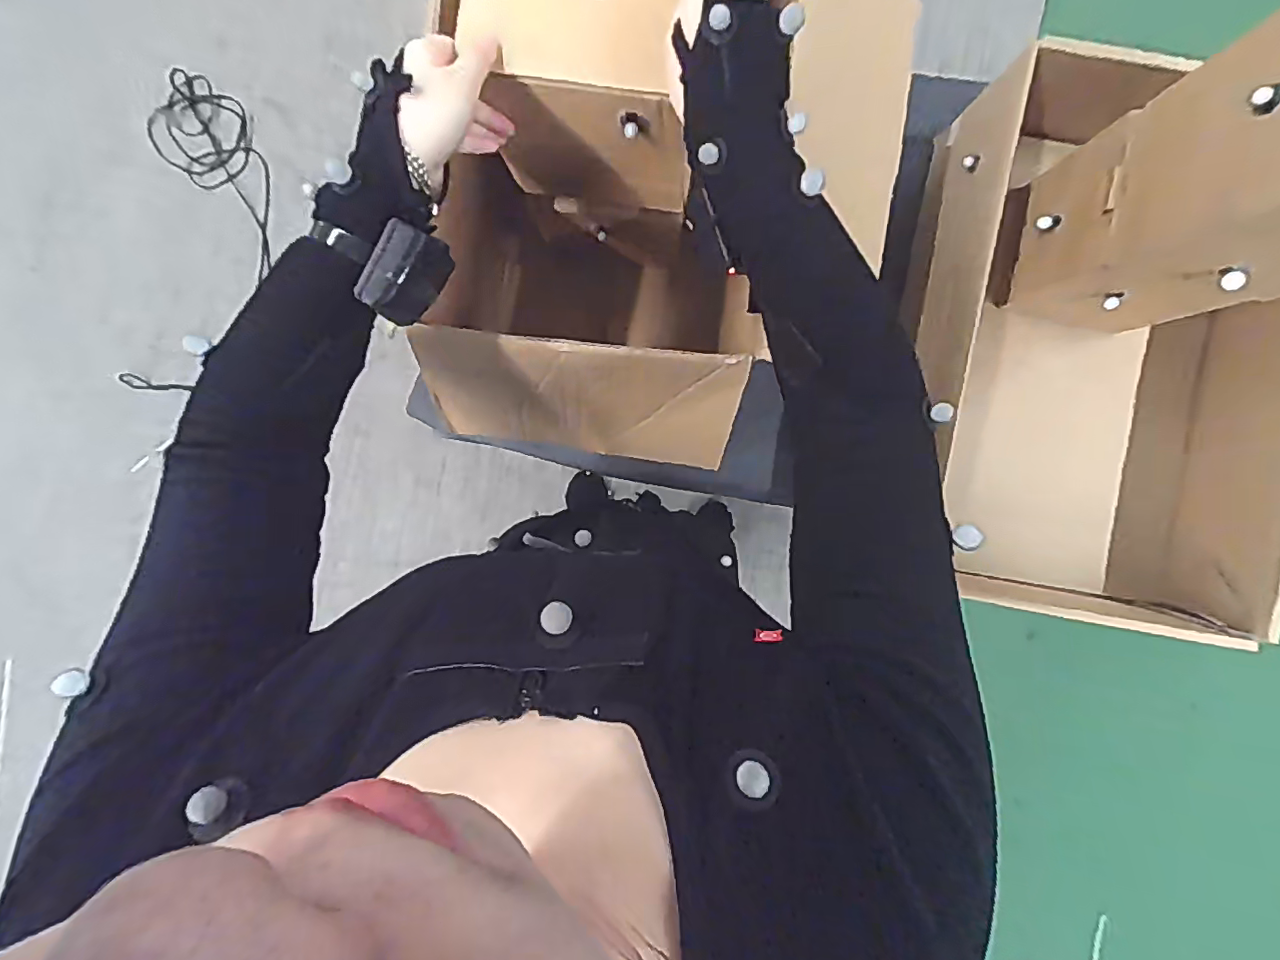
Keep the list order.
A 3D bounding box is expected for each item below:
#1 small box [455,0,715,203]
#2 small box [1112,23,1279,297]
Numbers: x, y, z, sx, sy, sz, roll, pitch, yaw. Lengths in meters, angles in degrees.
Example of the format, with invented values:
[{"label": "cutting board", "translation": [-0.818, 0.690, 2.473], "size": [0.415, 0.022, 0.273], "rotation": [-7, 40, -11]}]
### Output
[{"label": "small box", "translation": [-0.033, -0.367, 0.469], "size": [0.179, 0.176, 0.168], "rotation": [9, 91, 3]}, {"label": "small box", "translation": [0.576, -0.283, 0.477], "size": [0.168, 0.176, 0.179], "rotation": [10, 94, -1]}]
